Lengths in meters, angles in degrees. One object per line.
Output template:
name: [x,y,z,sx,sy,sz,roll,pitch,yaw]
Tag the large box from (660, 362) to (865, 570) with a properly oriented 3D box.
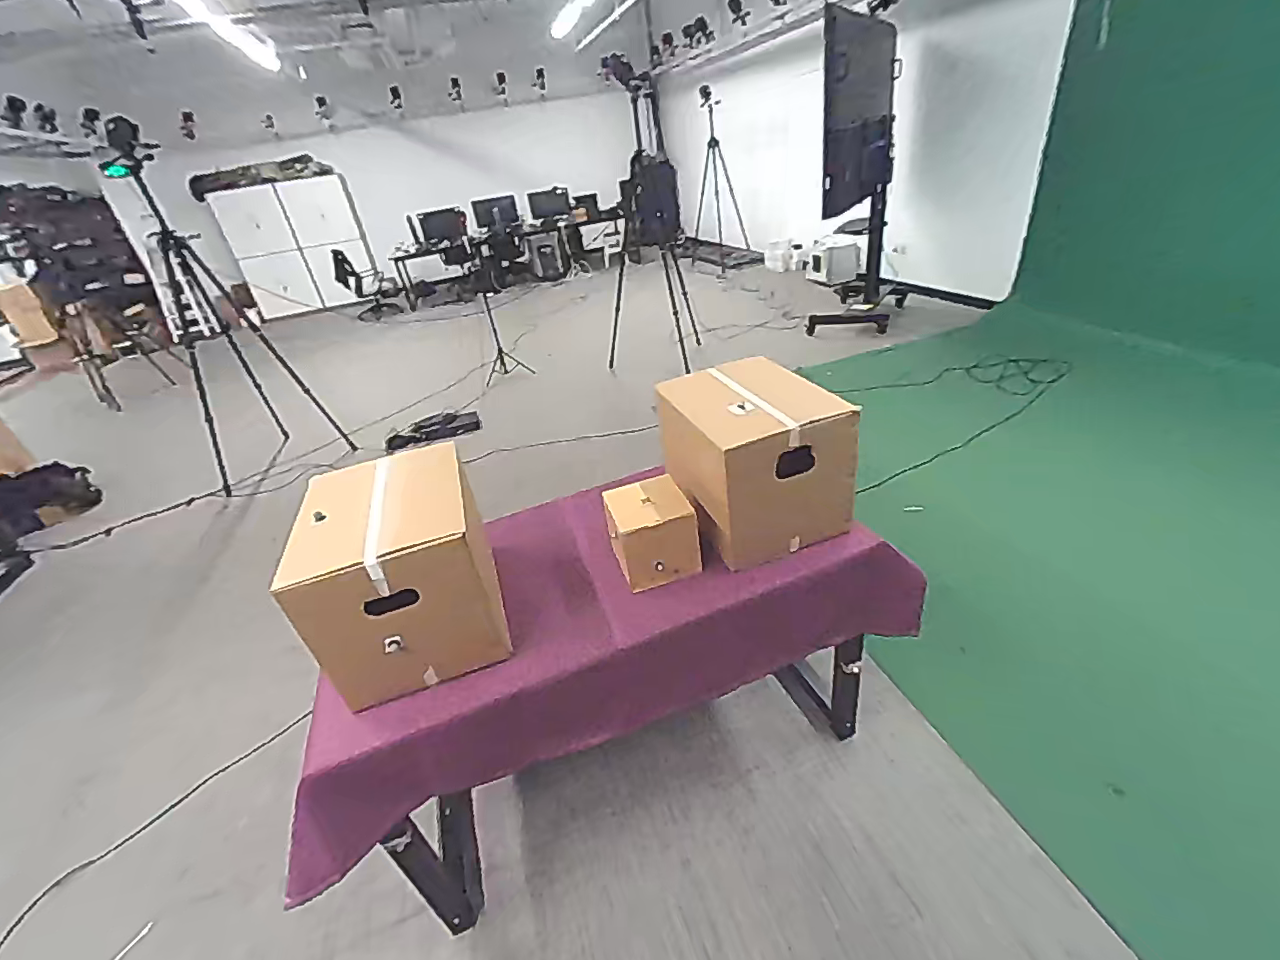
large box: [0.272,-0.054,1.309,0.320,0.320,0.408,-16,33,-12]
